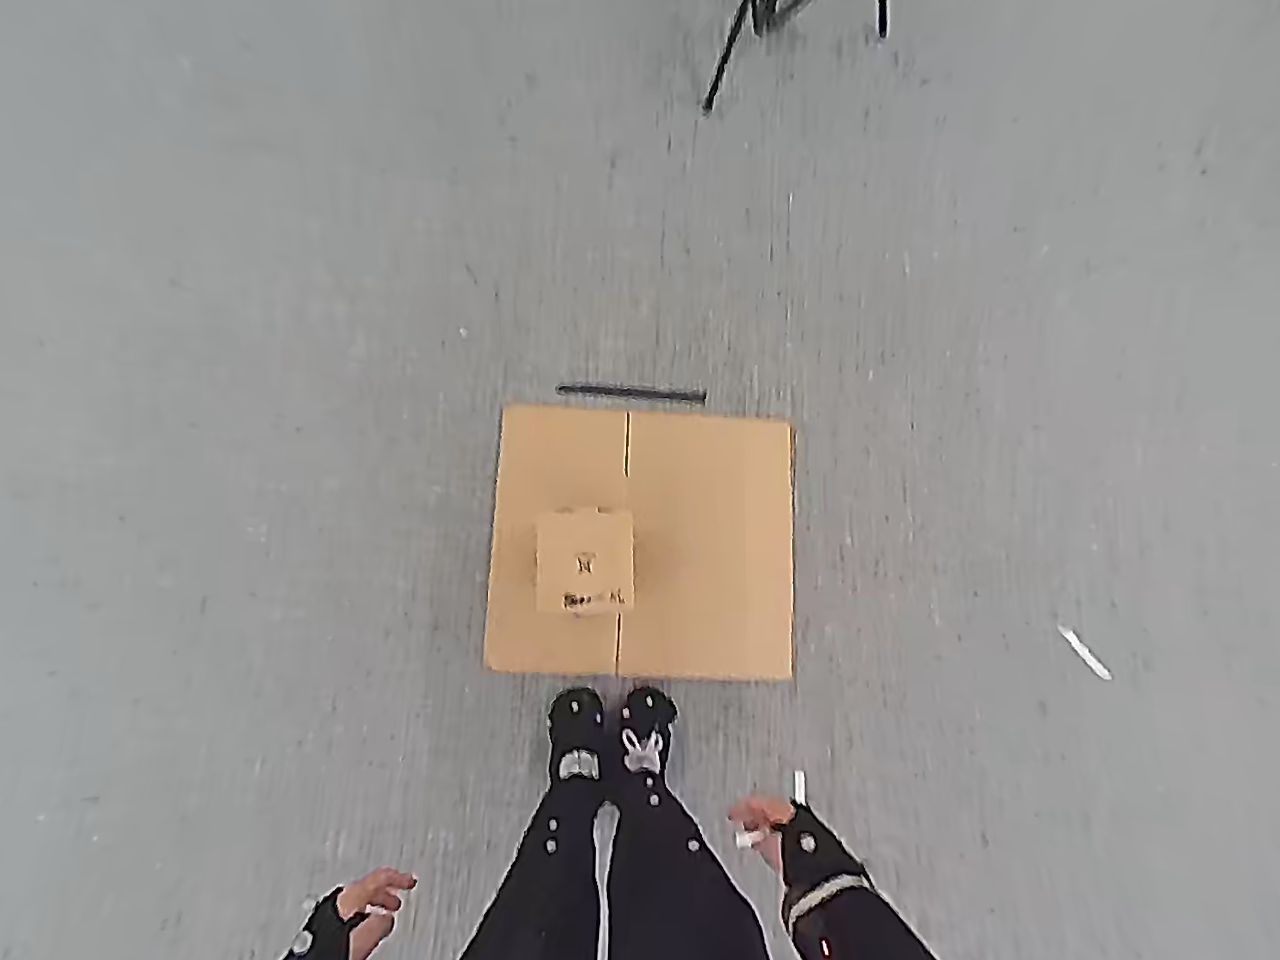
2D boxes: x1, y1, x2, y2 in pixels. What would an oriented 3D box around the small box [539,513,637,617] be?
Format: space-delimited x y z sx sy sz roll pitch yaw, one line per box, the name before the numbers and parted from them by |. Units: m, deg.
small box | -0.094 0.158 0.994 0.168 0.176 0.179 0 80 -4
